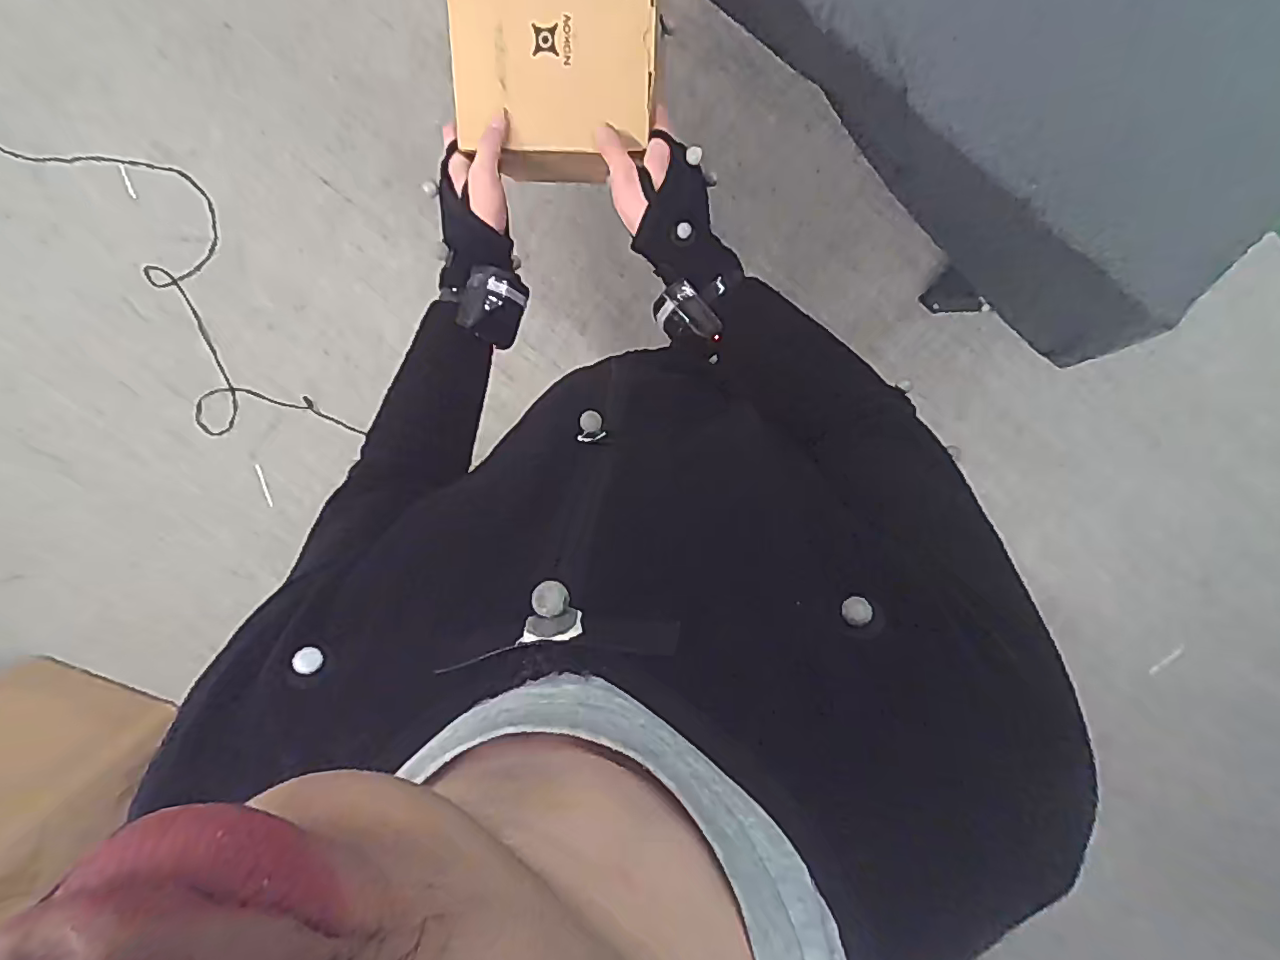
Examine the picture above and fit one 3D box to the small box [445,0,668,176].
[{"bbox_3d":[-0.065,-0.396,0.509,0.179,0.176,0.168,3,109,5],"label":"small box"}]
